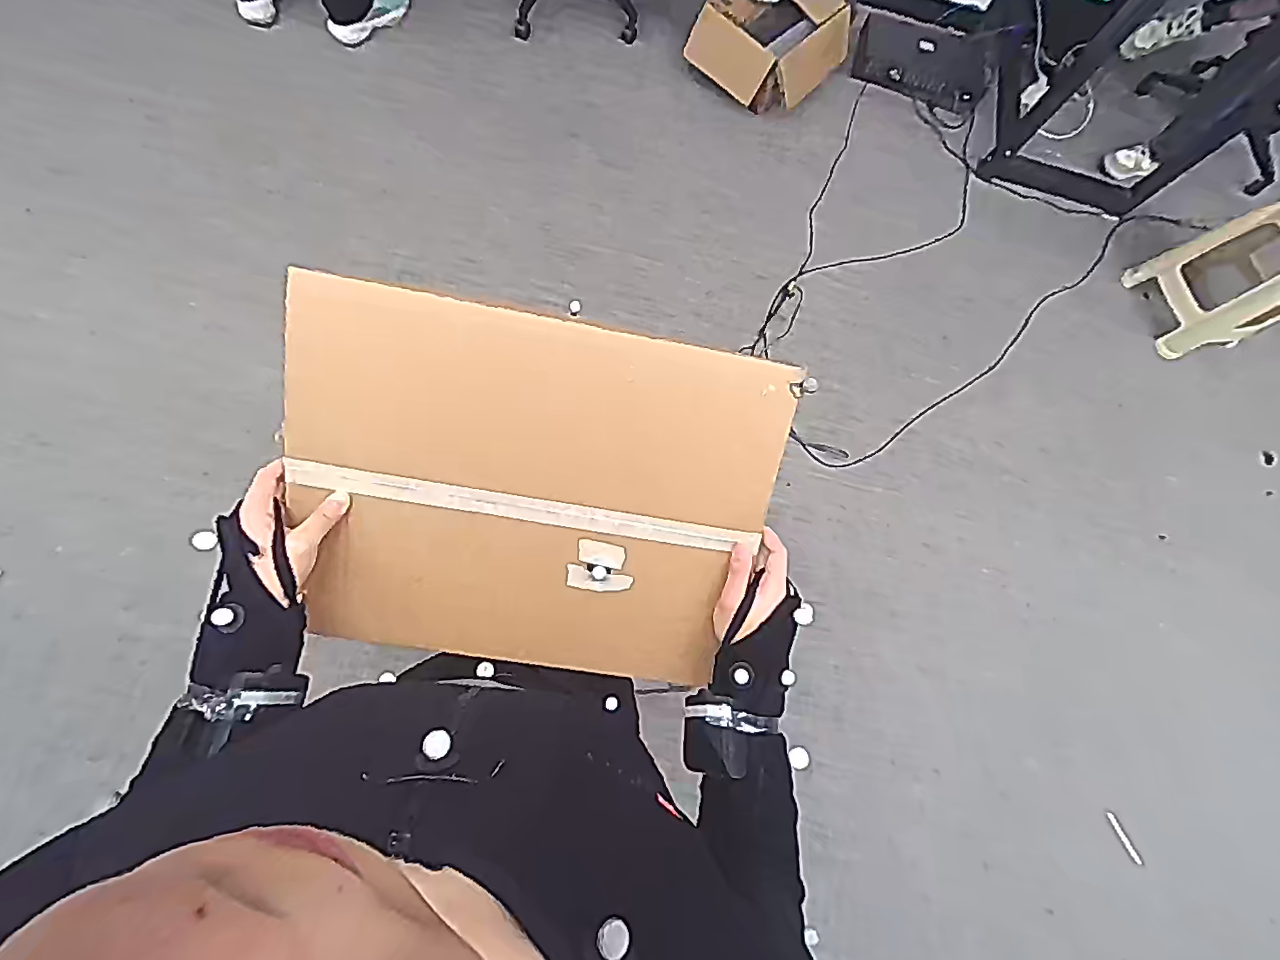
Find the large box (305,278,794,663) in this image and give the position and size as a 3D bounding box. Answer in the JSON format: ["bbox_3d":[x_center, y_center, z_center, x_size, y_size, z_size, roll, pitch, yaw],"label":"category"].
[{"bbox_3d":[-0.099,-0.030,0.621,0.408,0.320,0.320,9,108,-7],"label":"large box"}]
